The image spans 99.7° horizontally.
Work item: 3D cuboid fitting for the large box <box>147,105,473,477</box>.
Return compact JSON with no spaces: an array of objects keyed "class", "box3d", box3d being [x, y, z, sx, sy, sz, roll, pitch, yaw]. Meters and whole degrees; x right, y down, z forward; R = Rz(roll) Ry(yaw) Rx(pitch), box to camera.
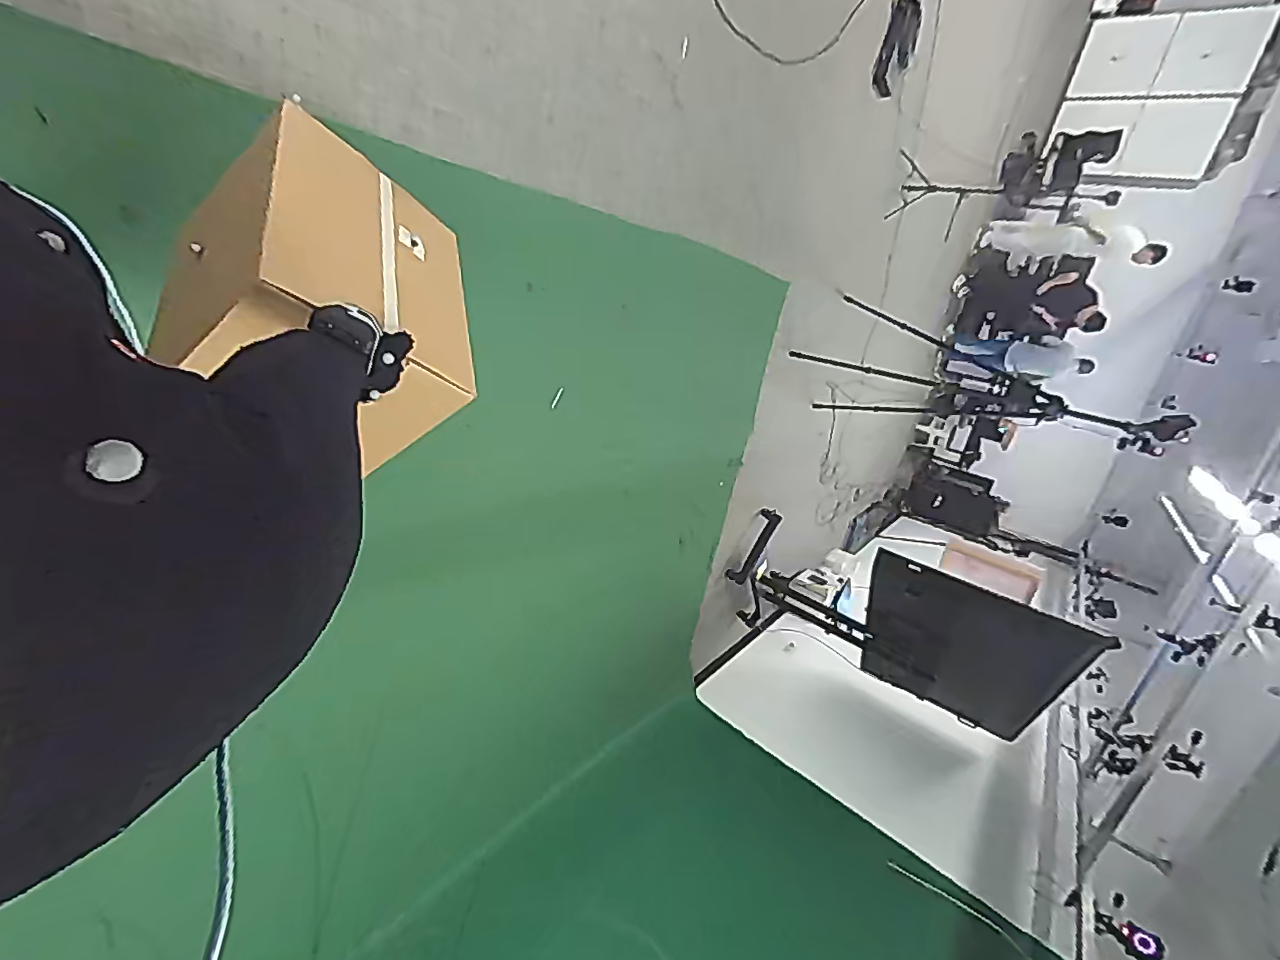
[{"class":"large box","box3d":[-0.514,-0.274,0.876,0.320,0.408,0.320,-29,149,21]}]
